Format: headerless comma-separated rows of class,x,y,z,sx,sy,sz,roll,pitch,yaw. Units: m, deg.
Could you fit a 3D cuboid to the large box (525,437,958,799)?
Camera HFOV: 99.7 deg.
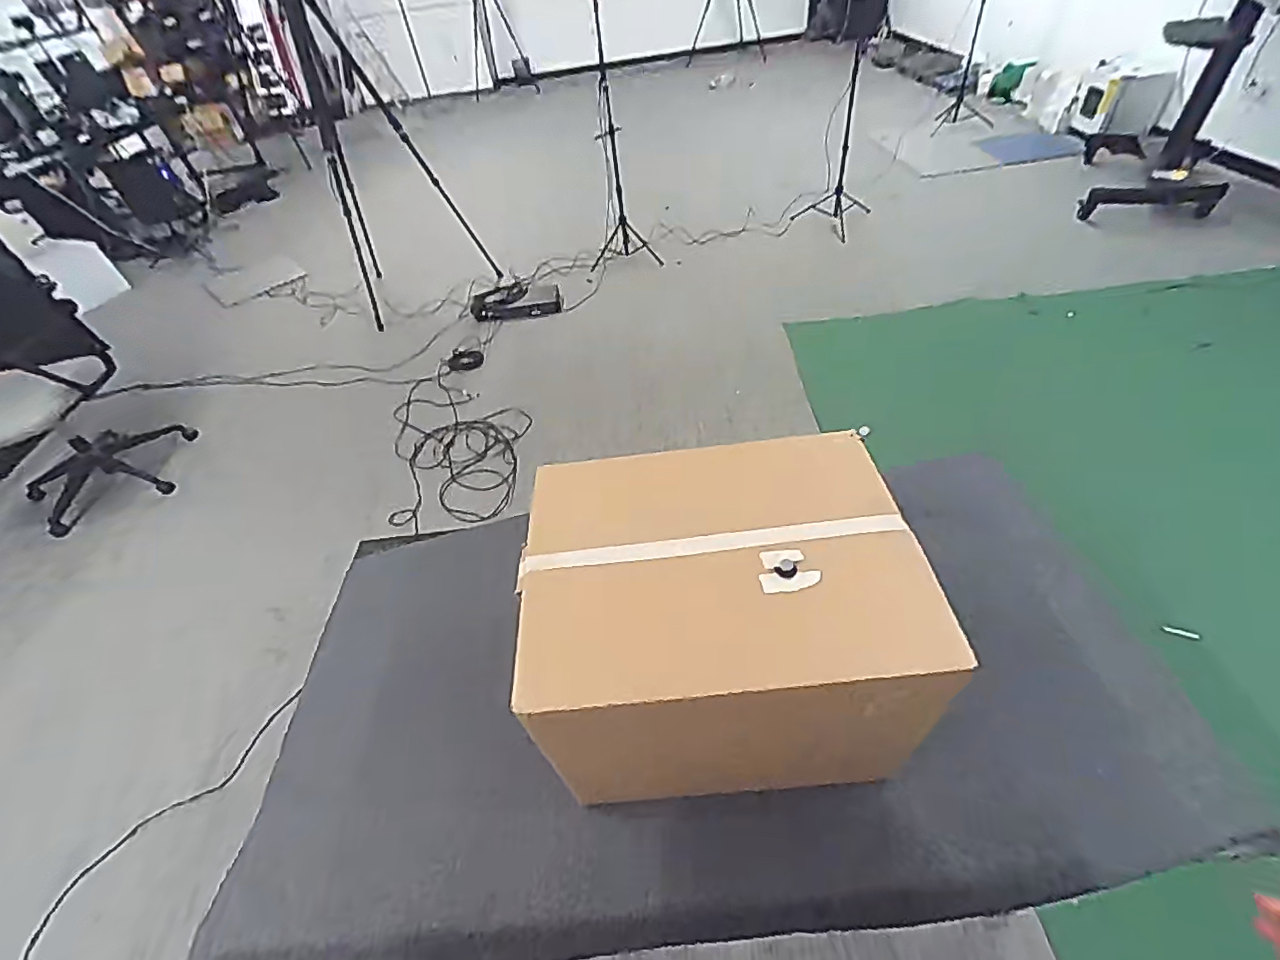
large box,0.093,0.180,0.694,0.408,0.320,0.320,-6,46,2
